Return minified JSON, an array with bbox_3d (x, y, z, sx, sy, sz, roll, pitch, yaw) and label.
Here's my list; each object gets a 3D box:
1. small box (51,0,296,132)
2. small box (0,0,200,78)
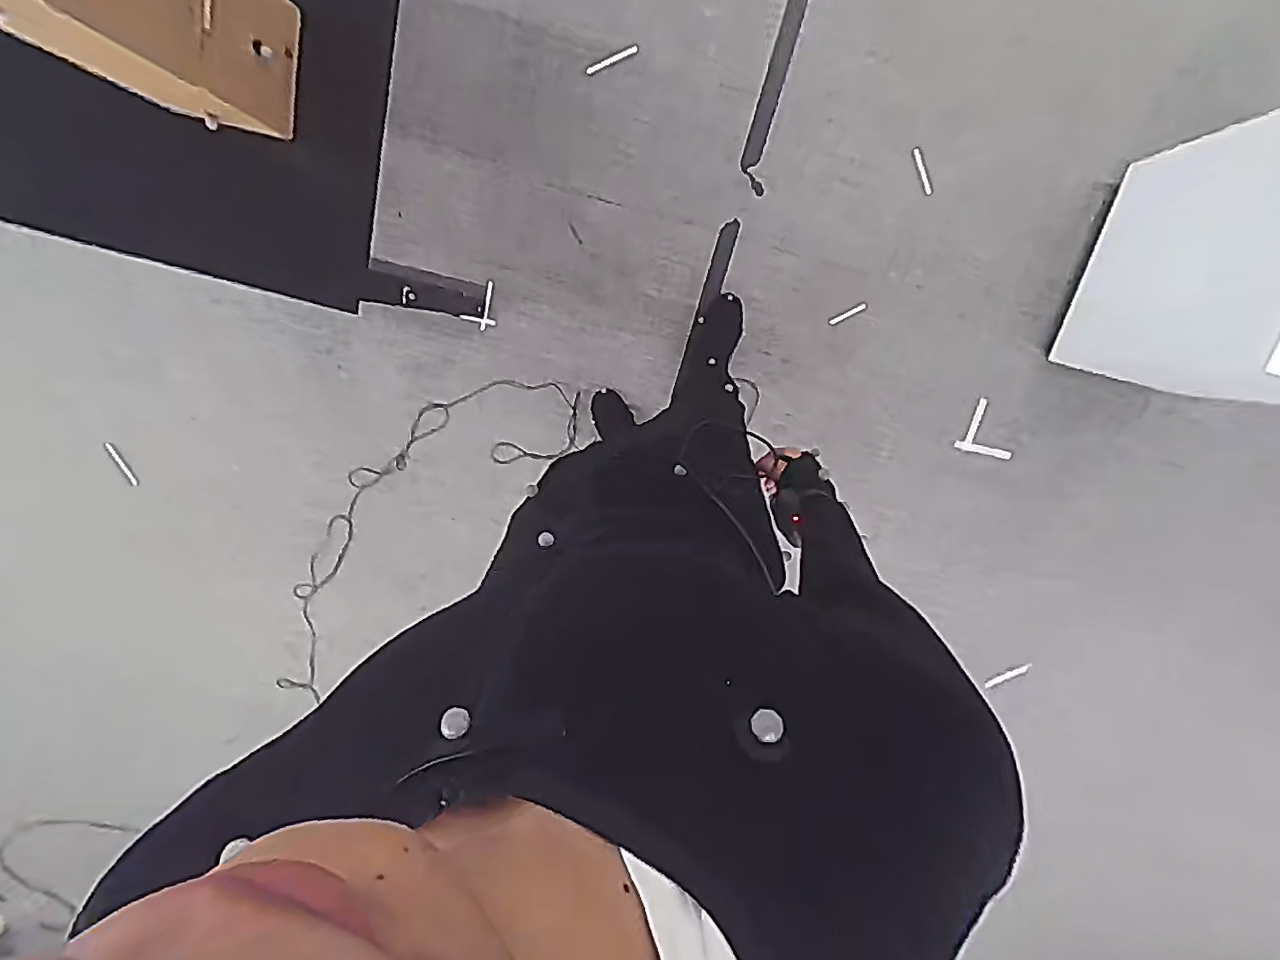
[{"bbox_3d":[-0.565,-0.565,0.674,0.179,0.176,0.168,12,104,-2],"label":"small box"},{"bbox_3d":[-0.570,-0.525,0.514,0.179,0.176,0.168,13,105,-2],"label":"small box"}]
